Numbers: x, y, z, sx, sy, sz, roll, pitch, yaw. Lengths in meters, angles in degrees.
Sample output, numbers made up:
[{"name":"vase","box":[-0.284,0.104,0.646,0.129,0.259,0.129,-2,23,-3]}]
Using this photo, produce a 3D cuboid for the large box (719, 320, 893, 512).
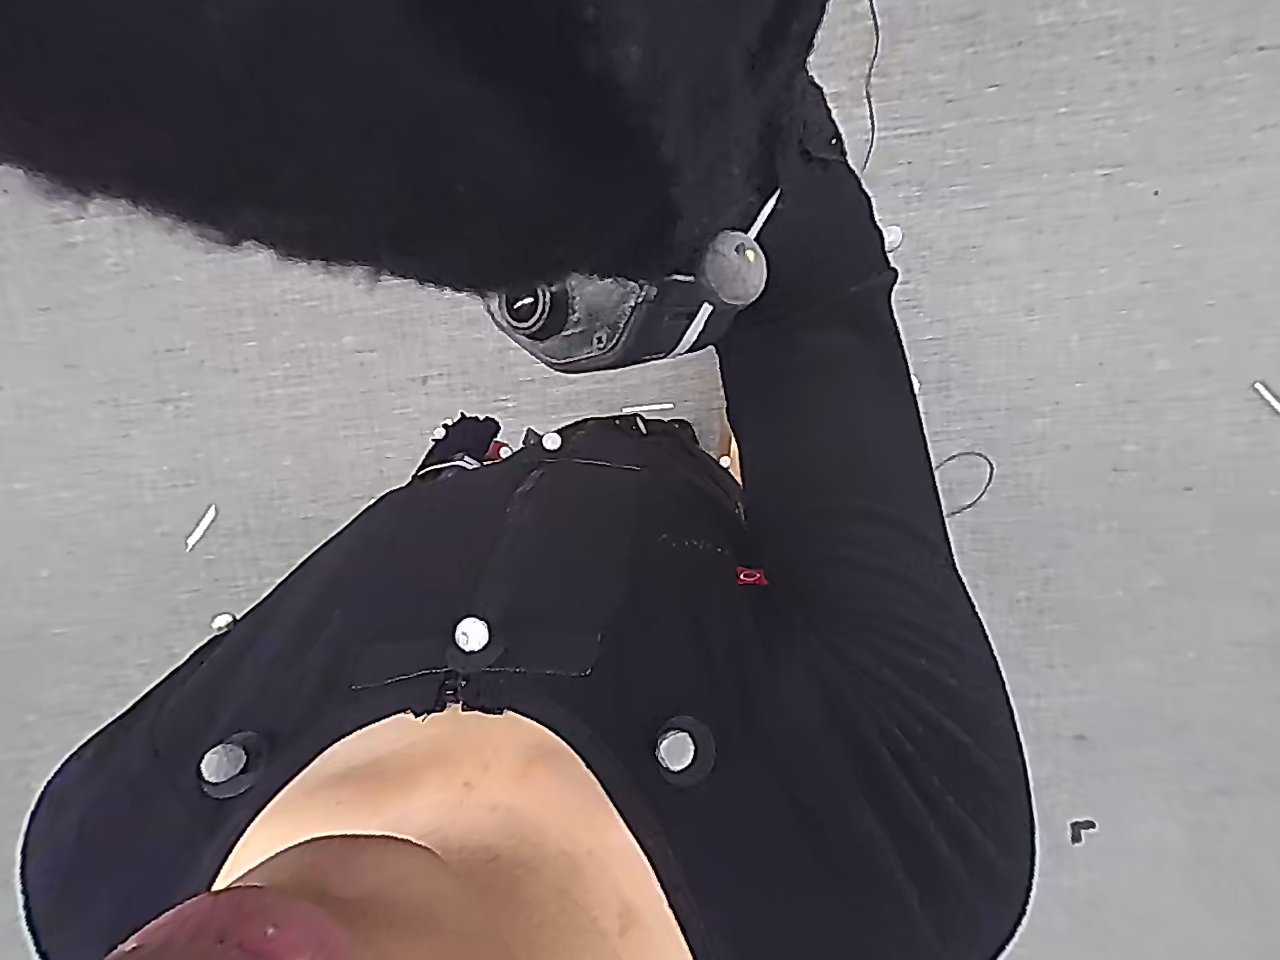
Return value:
[{"name":"large box","box":[0.375,-0.158,1.313,0.320,0.320,0.408,5,99,3]}]
